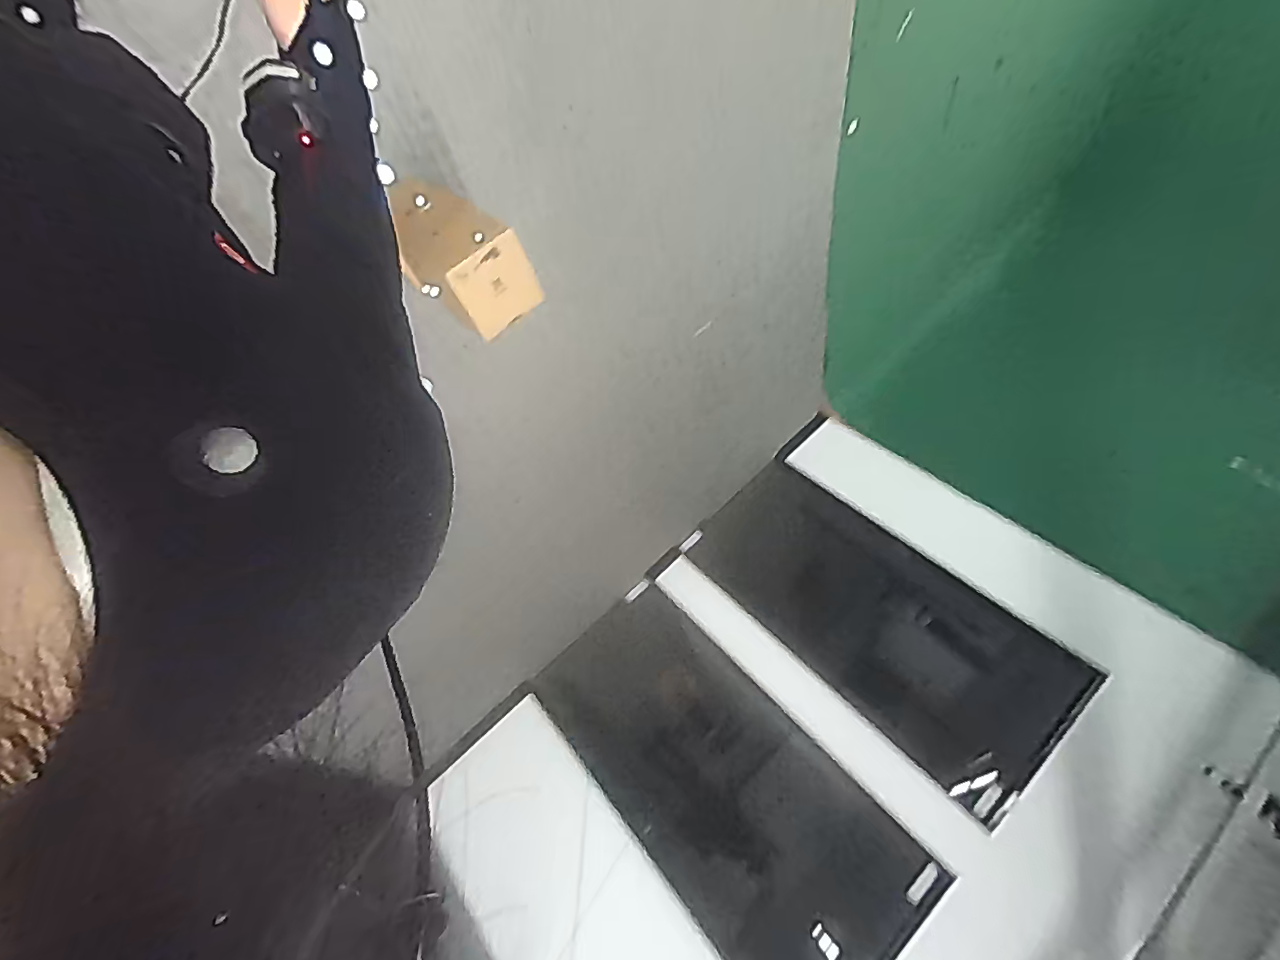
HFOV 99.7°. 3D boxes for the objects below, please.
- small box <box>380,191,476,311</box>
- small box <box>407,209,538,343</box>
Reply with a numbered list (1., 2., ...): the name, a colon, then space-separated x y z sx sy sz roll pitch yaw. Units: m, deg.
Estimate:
1. small box: -0.449 -0.522 1.231 0.168 0.176 0.179 -42 146 -14
2. small box: -0.349 -0.431 1.138 0.168 0.176 0.179 -42 148 -14
